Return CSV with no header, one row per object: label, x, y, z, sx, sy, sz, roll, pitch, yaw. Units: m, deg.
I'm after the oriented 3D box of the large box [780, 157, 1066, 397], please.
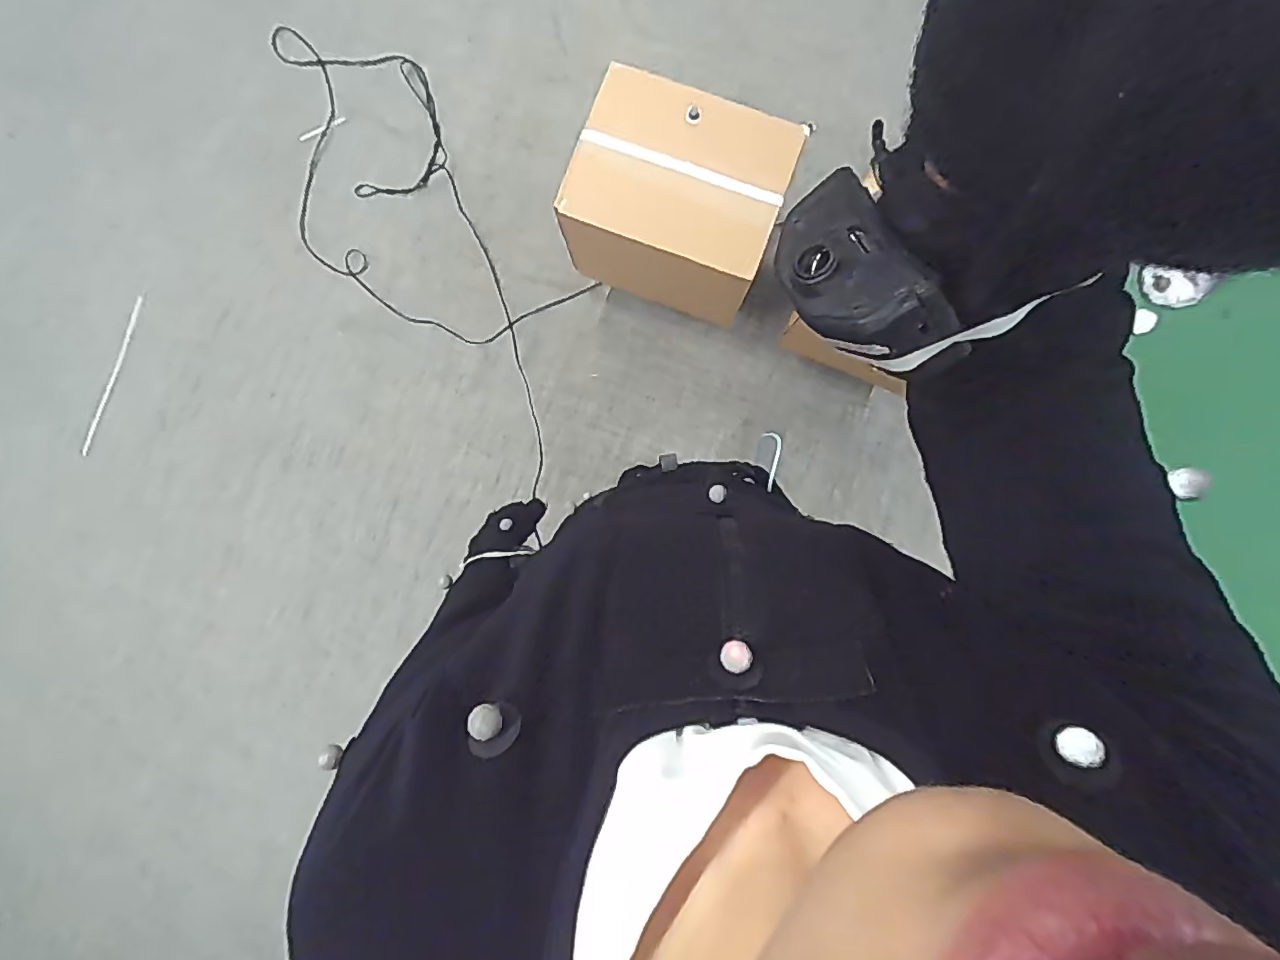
large box,0.577,-0.409,1.181,0.408,0.320,0.320,23,90,2
